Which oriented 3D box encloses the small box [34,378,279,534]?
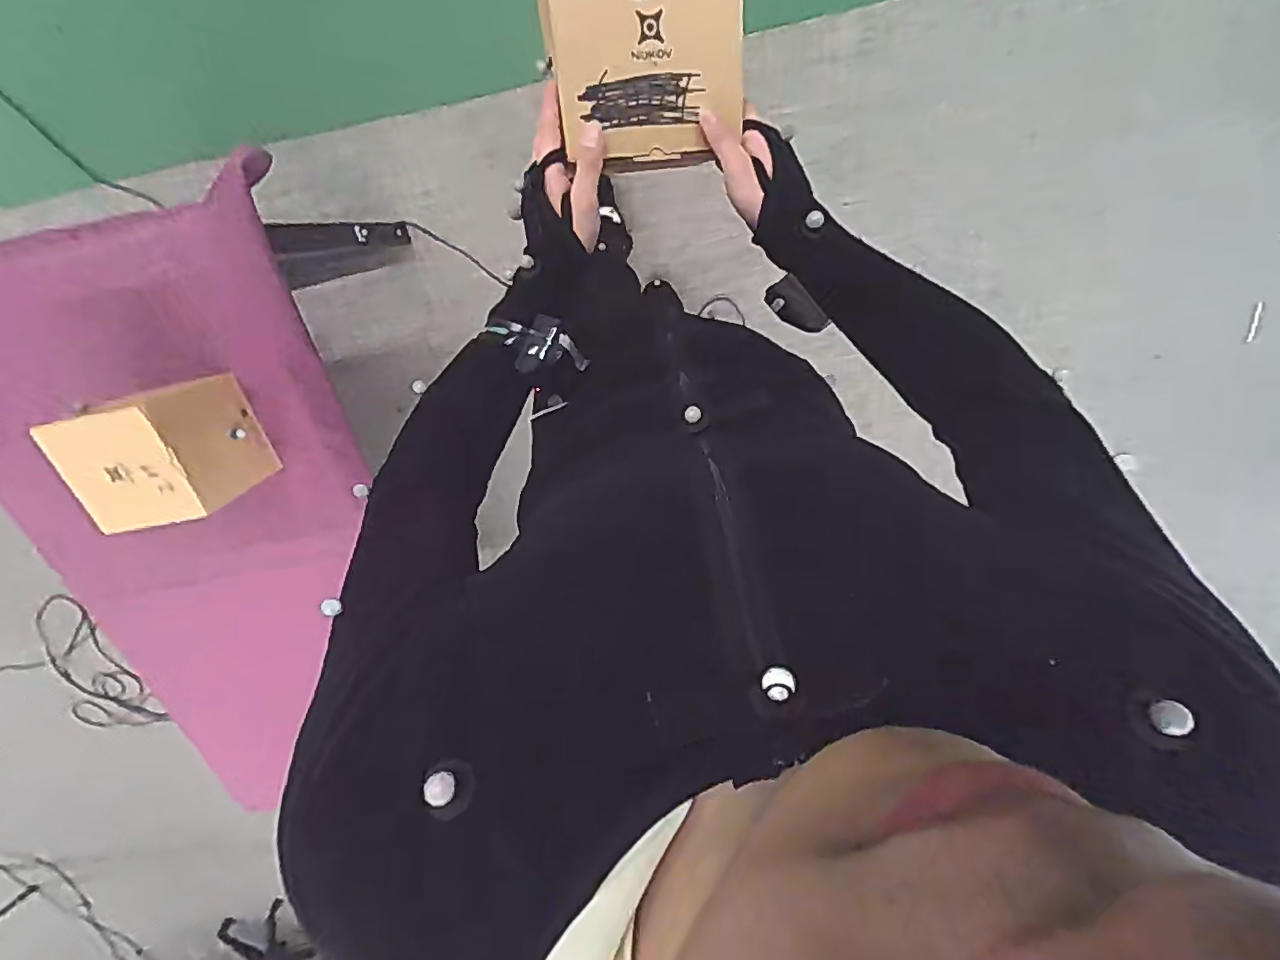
[{"bbox_3d":[-0.696,-0.041,0.805,0.179,0.176,0.168,-9,115,6],"label":"small box"}]
